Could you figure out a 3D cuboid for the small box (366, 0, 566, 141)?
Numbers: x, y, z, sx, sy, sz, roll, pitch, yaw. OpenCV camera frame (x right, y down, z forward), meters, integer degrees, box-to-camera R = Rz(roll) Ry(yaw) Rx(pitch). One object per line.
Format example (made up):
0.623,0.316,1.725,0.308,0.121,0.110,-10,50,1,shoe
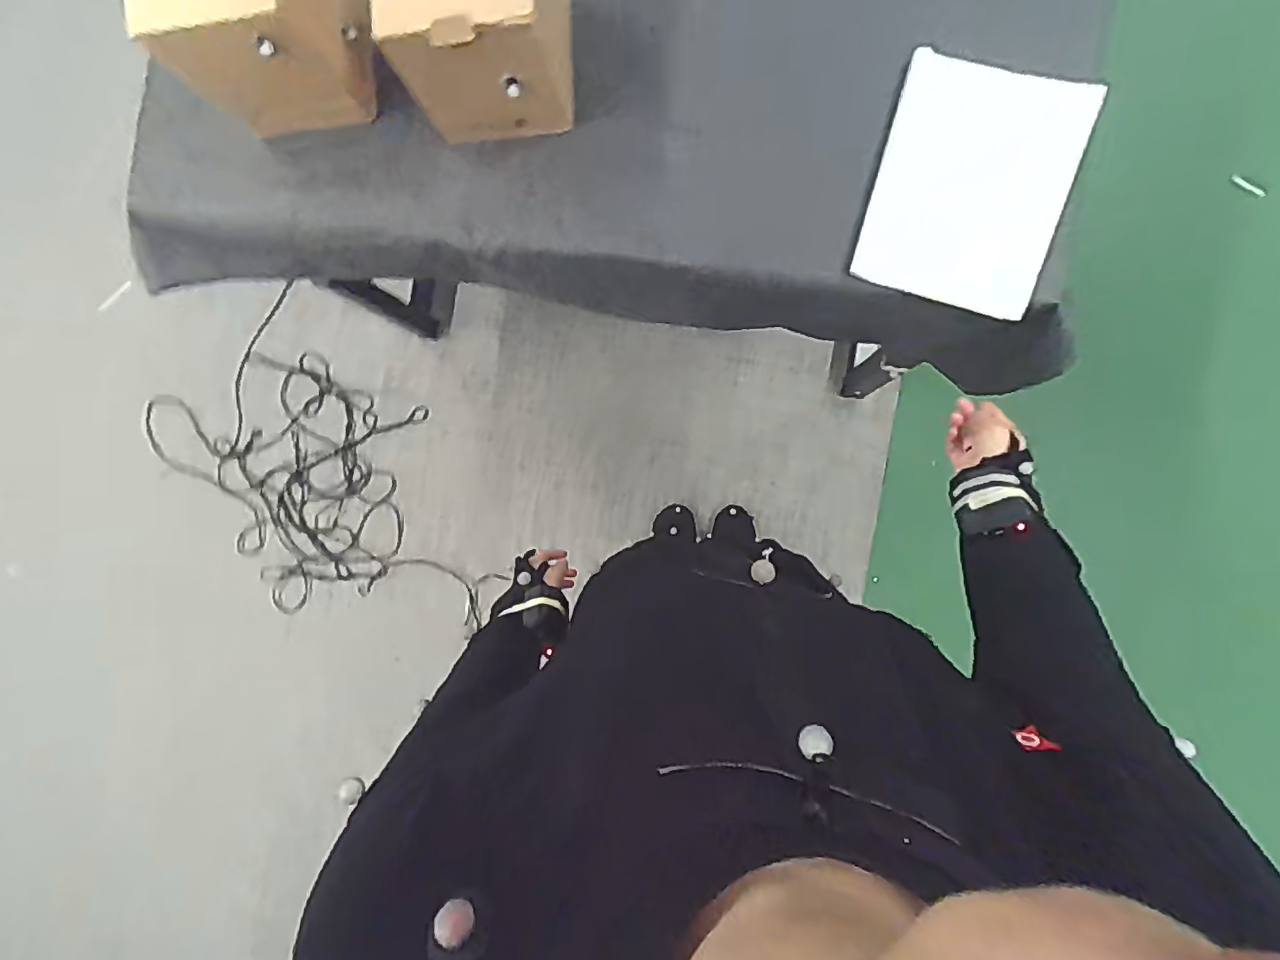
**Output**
-0.182,-0.515,0.610,0.168,0.176,0.179,-2,87,5,small box

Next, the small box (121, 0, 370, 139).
-0.452,-0.540,0.641,0.179,0.176,0.168,-4,87,5,small box
